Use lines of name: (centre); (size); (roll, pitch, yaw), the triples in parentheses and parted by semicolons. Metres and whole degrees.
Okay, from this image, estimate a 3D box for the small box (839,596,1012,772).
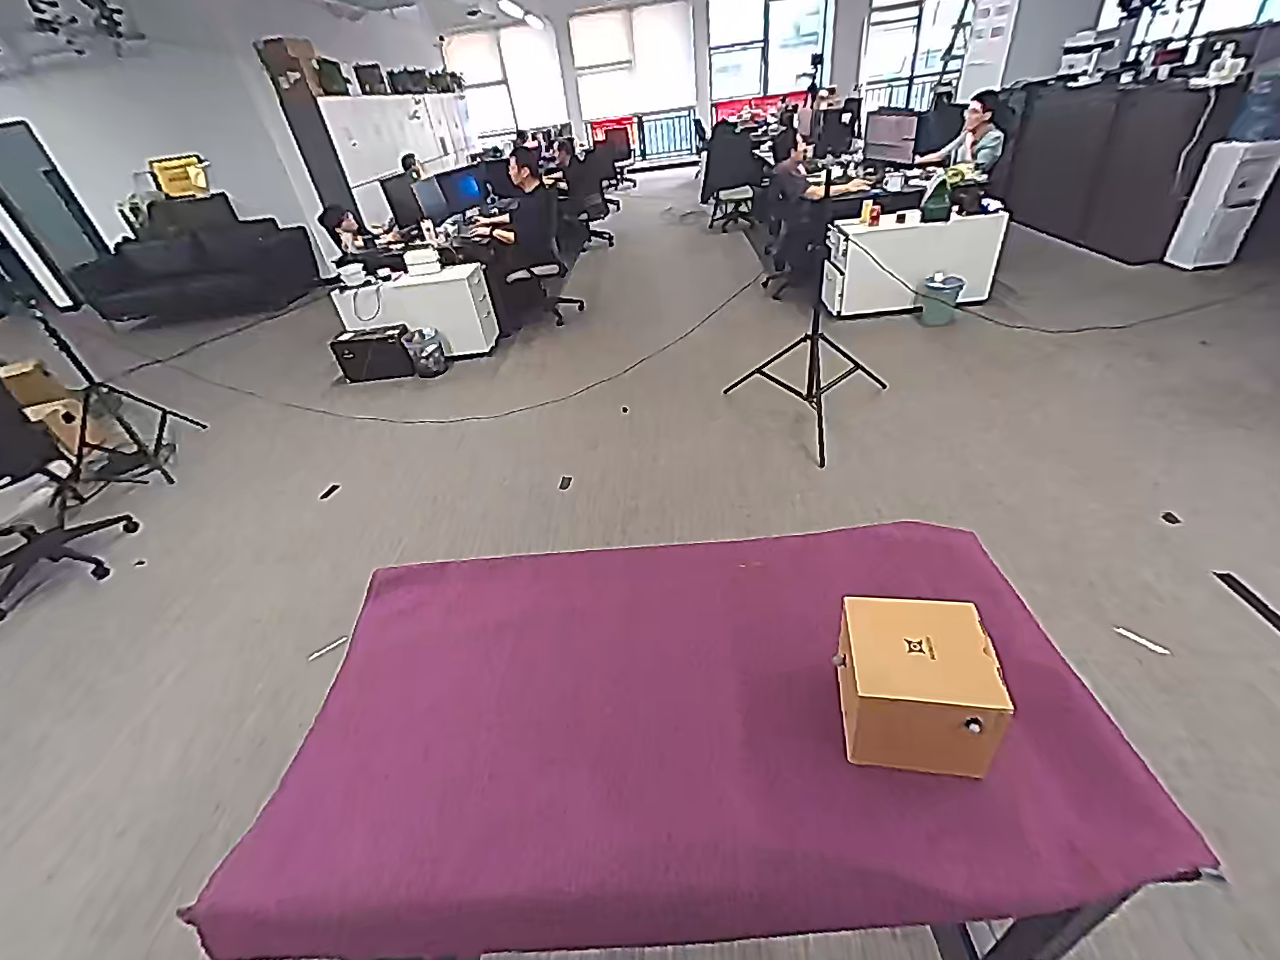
small box: (0.381, 0.285, 0.762); (0.179, 0.176, 0.168); (0, 36, 13)
